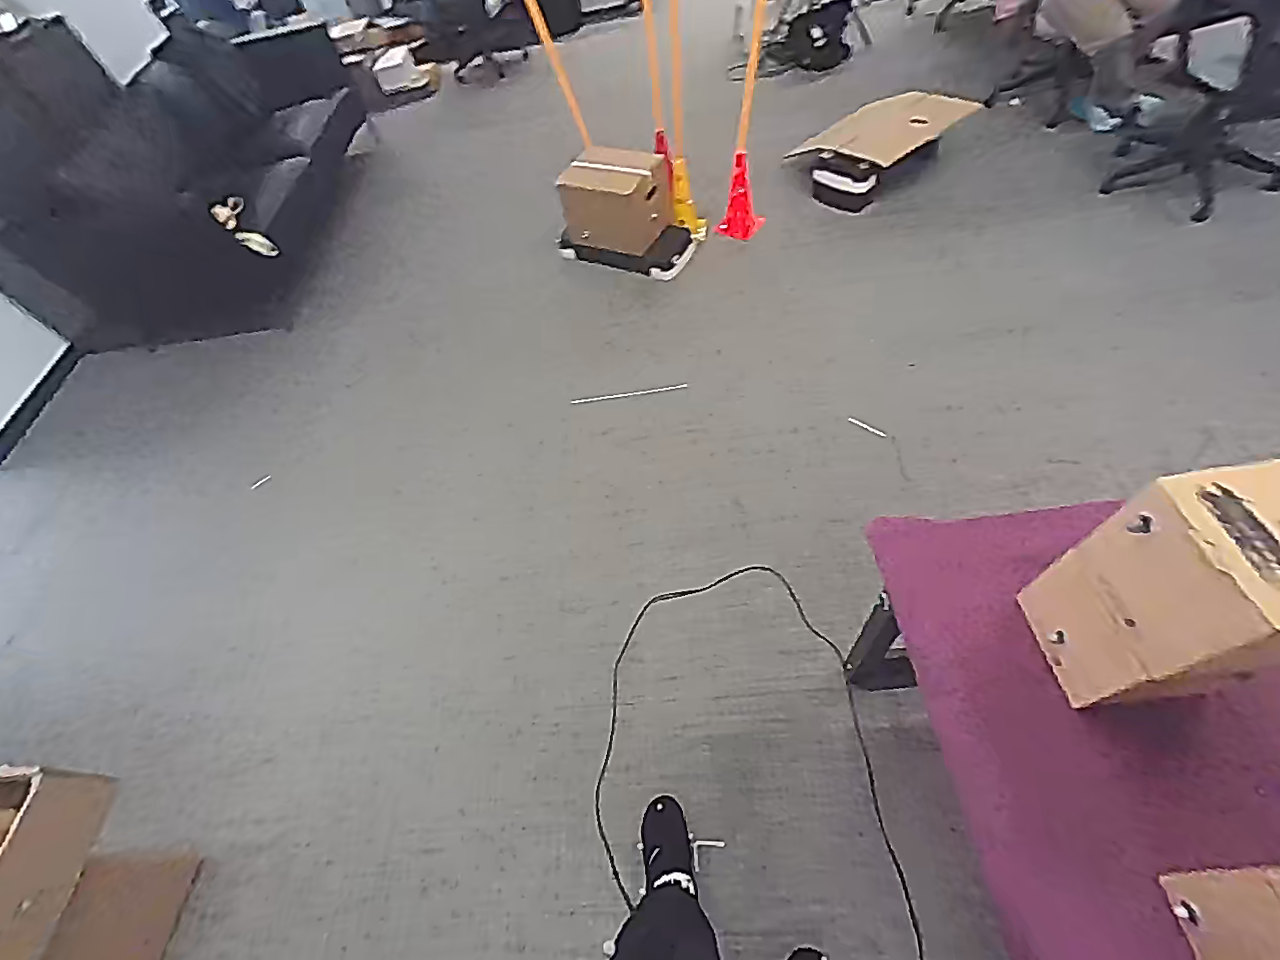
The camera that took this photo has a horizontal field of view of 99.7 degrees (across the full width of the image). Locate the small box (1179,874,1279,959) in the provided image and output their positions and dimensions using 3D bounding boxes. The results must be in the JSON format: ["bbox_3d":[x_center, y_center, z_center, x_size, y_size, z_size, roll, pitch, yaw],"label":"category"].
[{"bbox_3d":[0.678,0.476,0.508,0.179,0.176,0.168,-8,55,5],"label":"small box"}]

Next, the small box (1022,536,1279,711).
[{"bbox_3d":[0.655,0.192,0.706,0.179,0.176,0.168,-9,54,5],"label":"small box"}]
